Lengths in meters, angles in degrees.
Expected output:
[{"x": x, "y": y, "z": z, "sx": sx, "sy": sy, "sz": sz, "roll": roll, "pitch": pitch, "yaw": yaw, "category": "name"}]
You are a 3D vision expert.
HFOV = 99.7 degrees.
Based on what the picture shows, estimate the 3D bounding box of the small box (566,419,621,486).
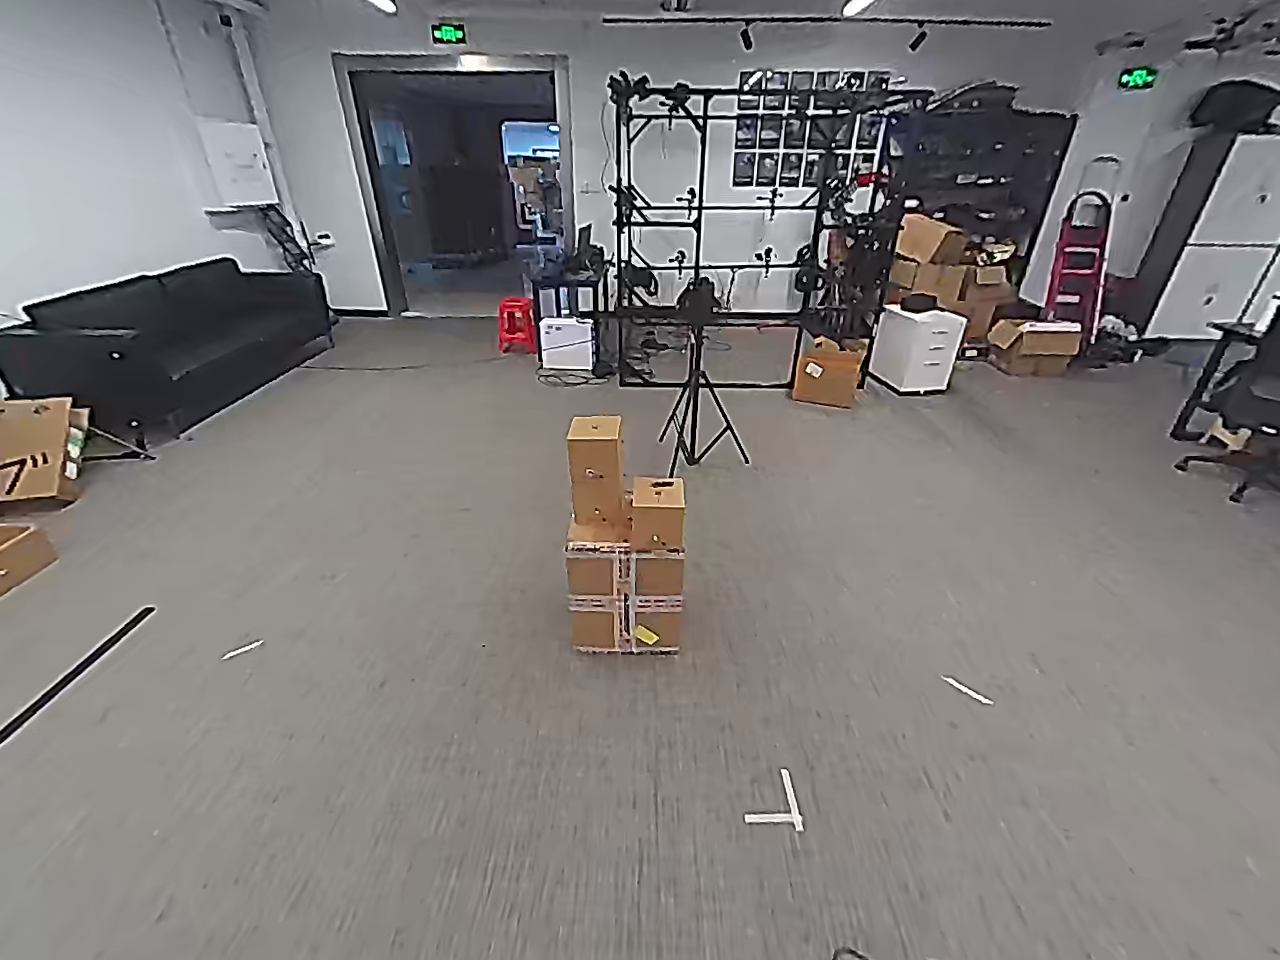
[{"x": -0.152, "y": -0.095, "z": 1.829, "sx": 0.168, "sy": 0.176, "sz": 0.179, "roll": -1, "pitch": 32, "yaw": 2, "category": "small box"}]

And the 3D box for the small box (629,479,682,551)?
[{"x": 0.051, "y": 0.114, "z": 1.798, "sx": 0.168, "sy": 0.176, "sz": 0.179, "roll": 1, "pitch": 32, "yaw": 1, "category": "small box"}]

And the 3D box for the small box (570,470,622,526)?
[{"x": -0.151, "y": 0.043, "z": 1.914, "sx": 0.168, "sy": 0.176, "sz": 0.179, "roll": 0, "pitch": 31, "yaw": 2, "category": "small box"}]
